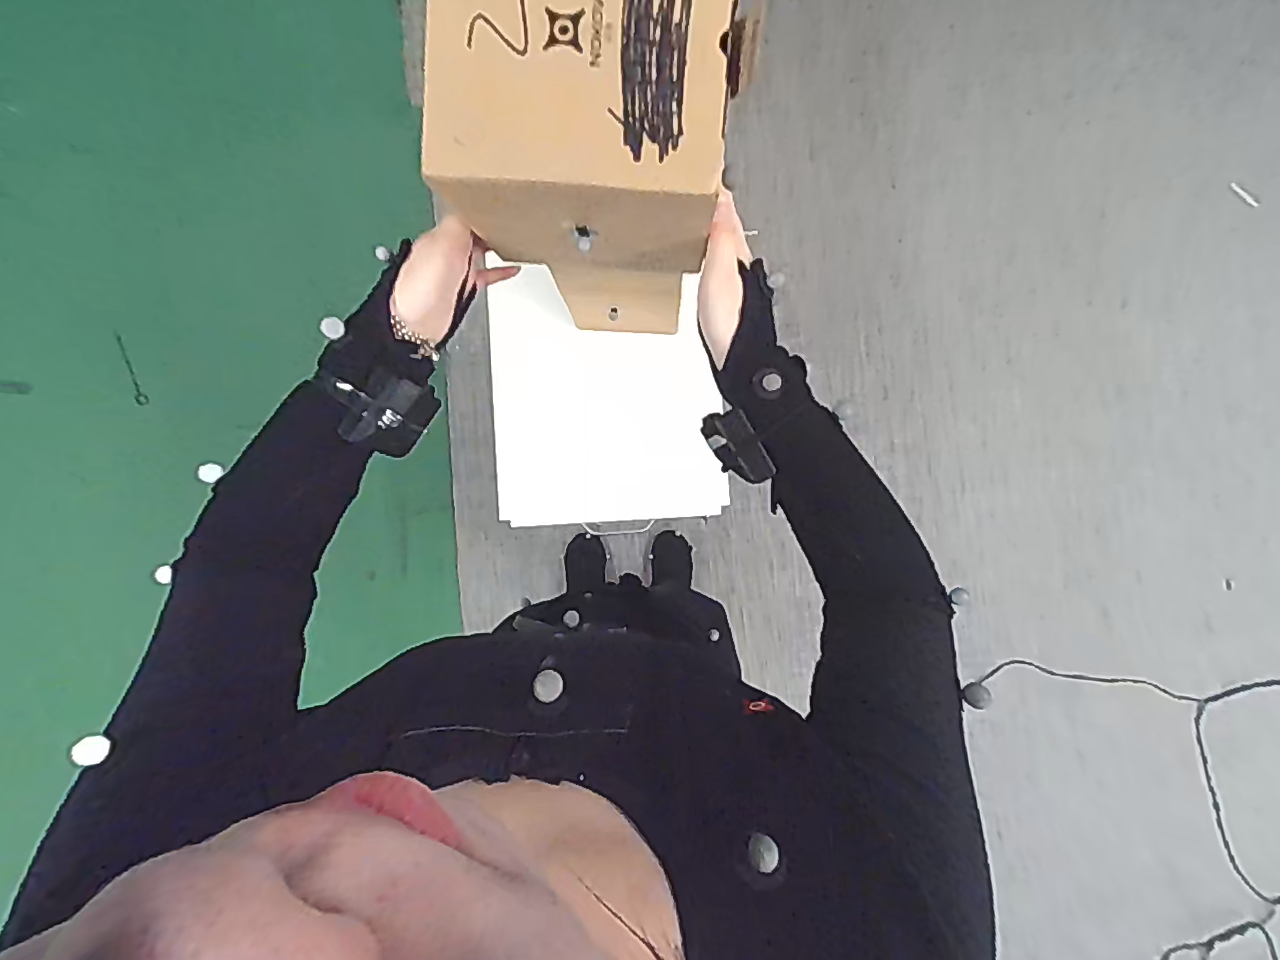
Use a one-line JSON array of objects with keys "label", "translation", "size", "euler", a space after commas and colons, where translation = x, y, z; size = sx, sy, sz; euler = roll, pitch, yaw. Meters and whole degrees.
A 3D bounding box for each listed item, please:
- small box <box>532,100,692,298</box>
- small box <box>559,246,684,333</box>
[{"label": "small box", "translation": [-0.030, -0.345, 0.694], "size": [0.179, 0.176, 0.168], "euler": [3, 87, 1]}, {"label": "small box", "translation": [-0.021, -0.340, 0.857], "size": [0.179, 0.176, 0.168], "euler": [3, 88, 2]}]
